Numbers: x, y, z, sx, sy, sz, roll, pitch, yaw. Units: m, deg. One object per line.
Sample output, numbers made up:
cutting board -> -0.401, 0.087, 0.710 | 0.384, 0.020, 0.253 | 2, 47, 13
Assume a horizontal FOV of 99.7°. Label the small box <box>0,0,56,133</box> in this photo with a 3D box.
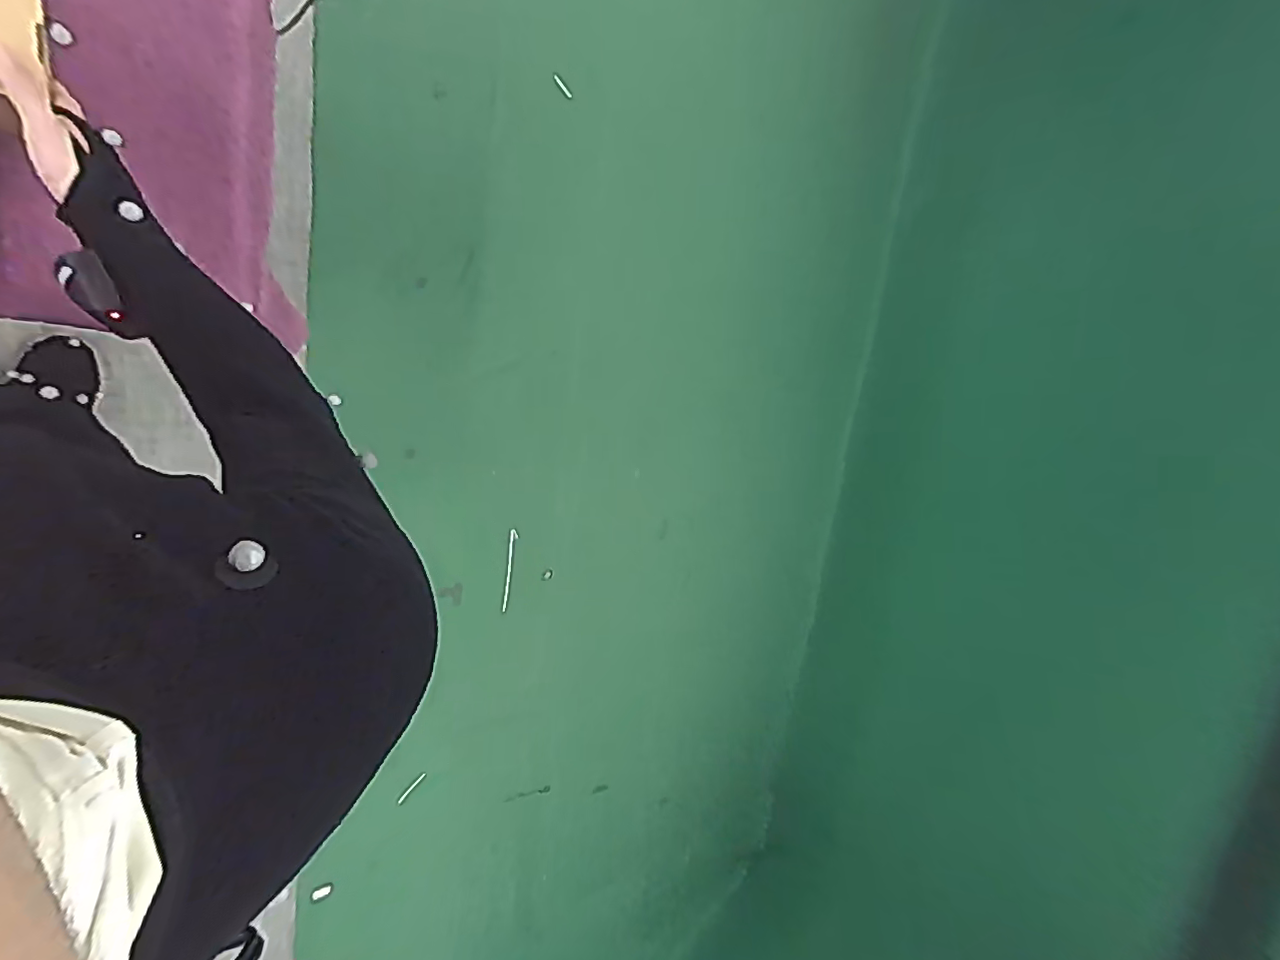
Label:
small box -> -0.590, -0.395, 0.419 | 0.179, 0.176, 0.168 | -6, 109, -45
